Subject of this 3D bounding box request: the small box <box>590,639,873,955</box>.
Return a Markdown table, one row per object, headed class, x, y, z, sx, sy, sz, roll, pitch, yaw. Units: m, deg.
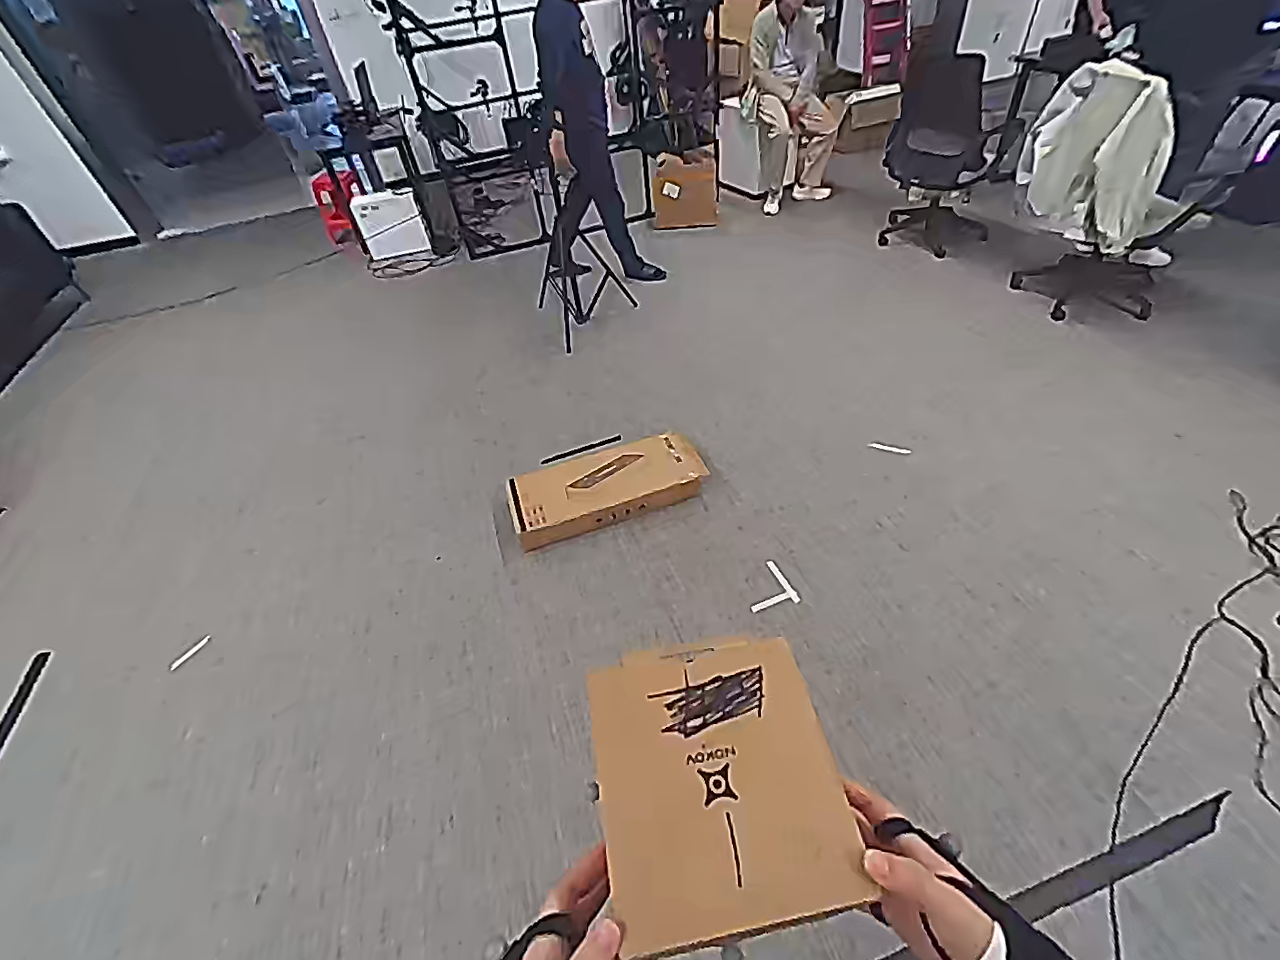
| class | x | y | z | sx | sy | sz | roll | pitch | yaw |
| --- | --- | --- | --- | --- | --- | --- | --- | --- | --- |
| small box | 0.054 | 0.258 | 0.442 | 0.168 | 0.176 | 0.179 | -9 | 49 | -5 |
